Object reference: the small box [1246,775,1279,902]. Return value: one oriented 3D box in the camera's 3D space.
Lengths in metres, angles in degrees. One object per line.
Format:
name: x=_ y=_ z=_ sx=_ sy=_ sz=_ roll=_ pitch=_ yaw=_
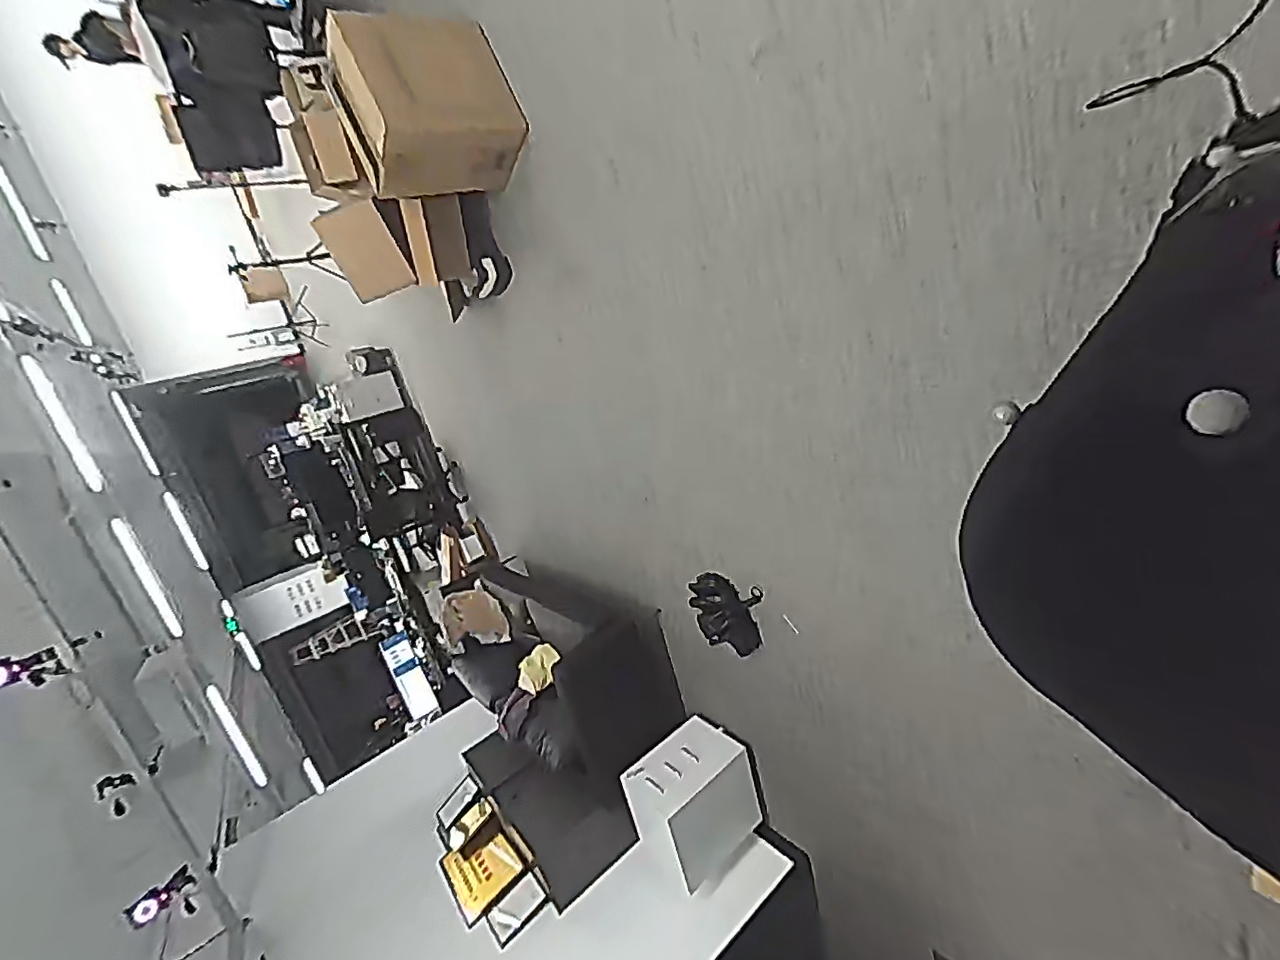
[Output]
small box: x=1.229 y=0.664 z=0.961 sx=0.179 sy=0.176 sz=0.168 roll=8 pitch=117 yaw=54
